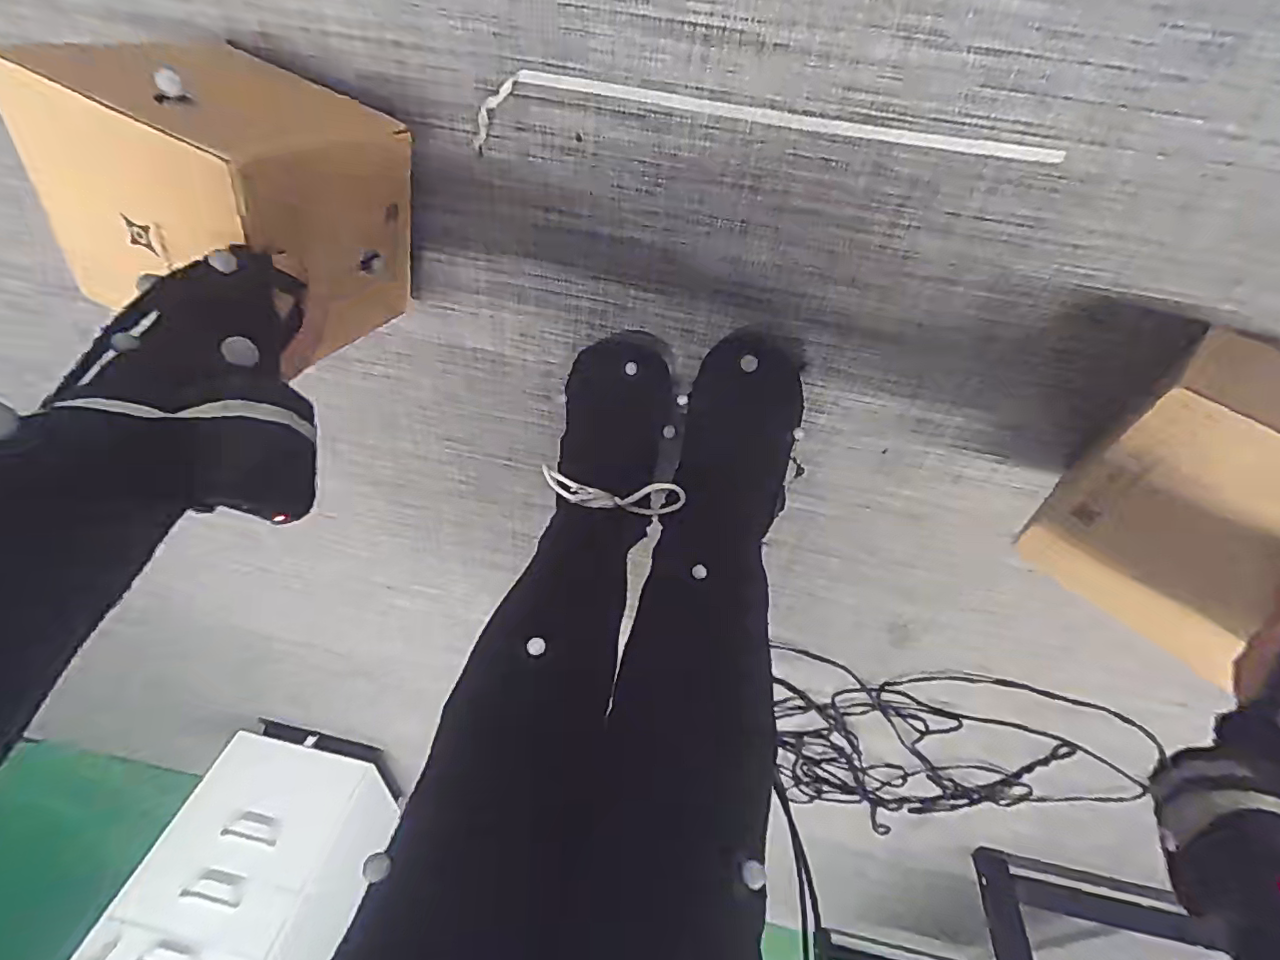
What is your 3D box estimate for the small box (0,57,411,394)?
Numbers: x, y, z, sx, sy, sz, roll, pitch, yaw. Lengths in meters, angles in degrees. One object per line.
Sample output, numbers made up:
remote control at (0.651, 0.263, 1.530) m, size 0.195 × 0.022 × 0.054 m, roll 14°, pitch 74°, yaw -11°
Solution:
small box at (-0.311, -0.203, 0.428) m, size 0.179 × 0.176 × 0.168 m, roll 24°, pitch 133°, yaw 1°
